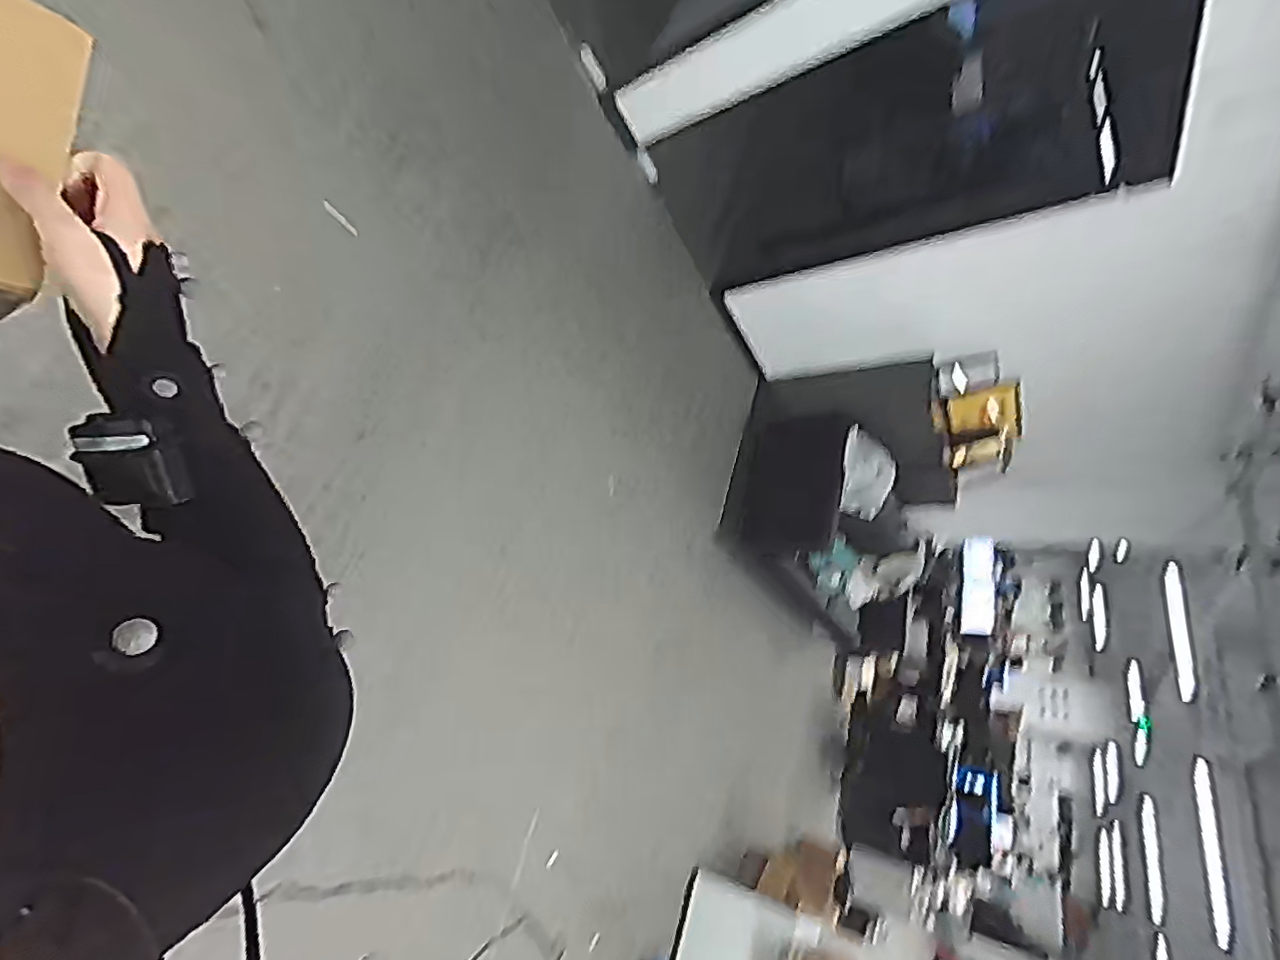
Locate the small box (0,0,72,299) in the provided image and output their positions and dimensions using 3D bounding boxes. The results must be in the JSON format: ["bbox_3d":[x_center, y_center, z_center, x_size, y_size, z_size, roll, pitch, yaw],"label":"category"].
[{"bbox_3d":[-0.490,-0.218,0.327,0.168,0.176,0.179,12,88,-55],"label":"small box"}]
